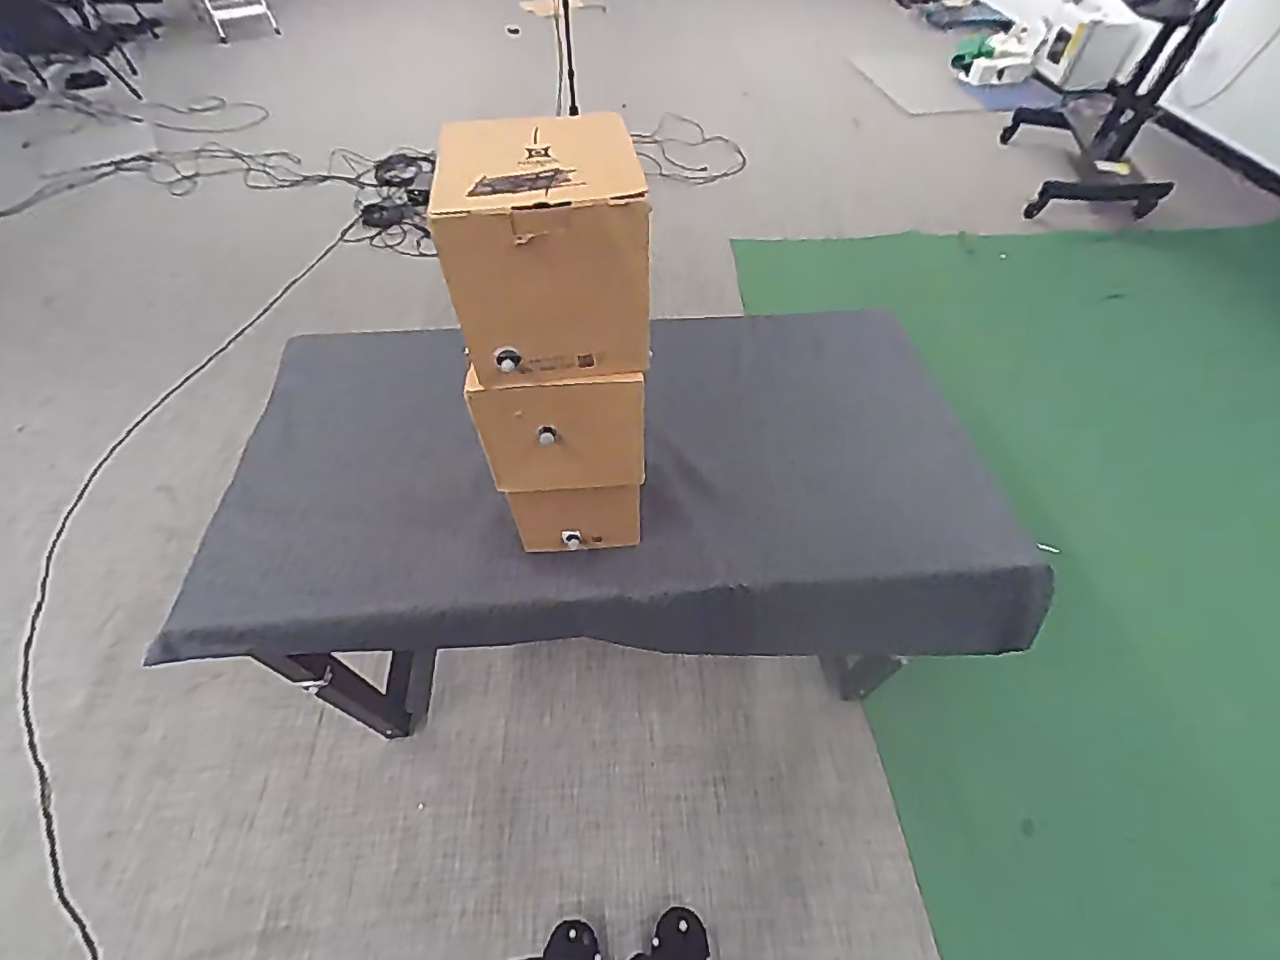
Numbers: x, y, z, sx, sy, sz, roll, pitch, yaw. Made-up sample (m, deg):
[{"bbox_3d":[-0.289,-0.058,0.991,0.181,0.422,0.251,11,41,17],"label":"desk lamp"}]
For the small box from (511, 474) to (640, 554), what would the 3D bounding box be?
[{"bbox_3d":[-0.089,-0.014,0.779,0.168,0.176,0.179,-6,53,-3],"label":"small box"}]

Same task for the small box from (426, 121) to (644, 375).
[{"bbox_3d":[-0.088,-0.215,0.519,0.168,0.176,0.179,-7,51,-5],"label":"small box"}]

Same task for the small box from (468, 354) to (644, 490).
[{"bbox_3d":[-0.090,-0.102,0.644,0.179,0.176,0.168,-5,50,-4],"label":"small box"}]
